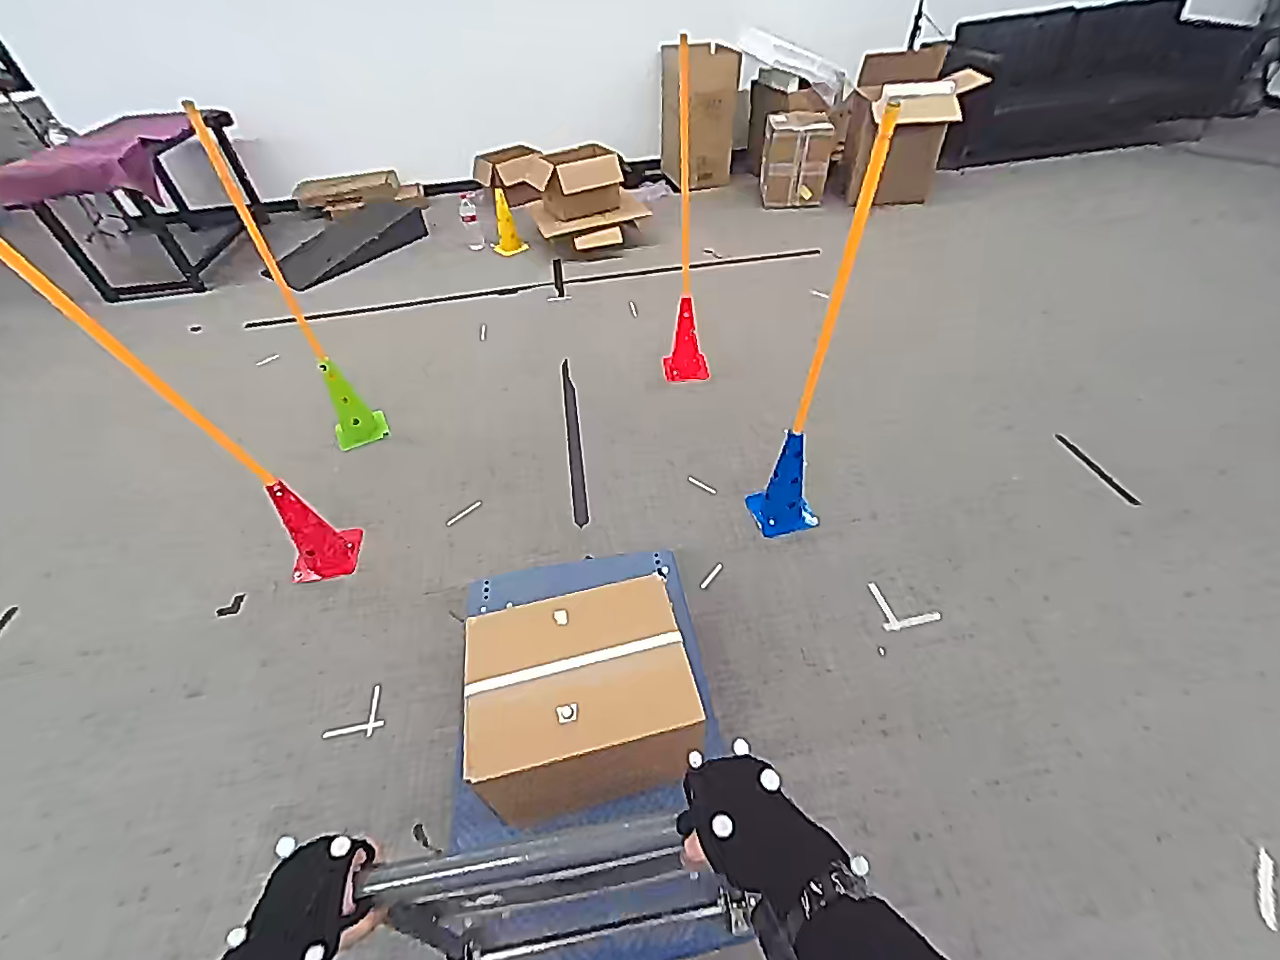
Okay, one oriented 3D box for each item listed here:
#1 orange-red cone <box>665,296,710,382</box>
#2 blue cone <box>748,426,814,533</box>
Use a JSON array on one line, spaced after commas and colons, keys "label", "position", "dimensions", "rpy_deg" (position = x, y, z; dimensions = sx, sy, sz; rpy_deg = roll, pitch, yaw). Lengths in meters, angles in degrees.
[{"label": "orange-red cone", "position": [0.210, -0.632, 2.370], "dimensions": [0.199, 0.360, 0.198], "rpy_deg": [-3, 46, 0]}, {"label": "blue cone", "position": [0.480, -0.013, 1.758], "dimensions": [0.193, 0.380, 0.192], "rpy_deg": [-11, 45, -7]}]
